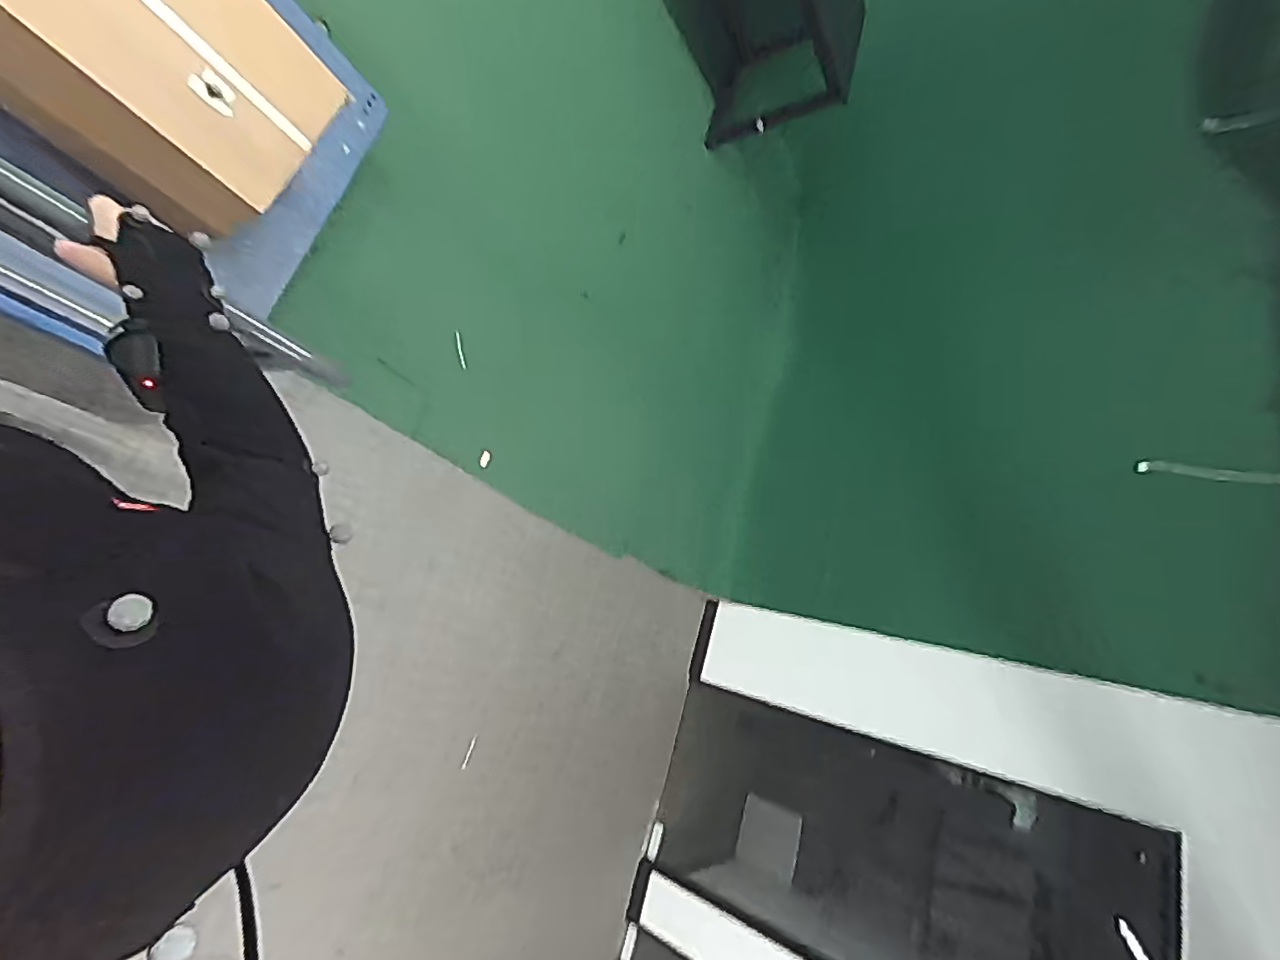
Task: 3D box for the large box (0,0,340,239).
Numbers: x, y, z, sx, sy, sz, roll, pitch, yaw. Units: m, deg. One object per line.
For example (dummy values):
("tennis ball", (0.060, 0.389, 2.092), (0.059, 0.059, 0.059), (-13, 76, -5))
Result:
("large box", (-0.830, -0.695, 0.908), (0.408, 0.320, 0.320), (42, 60, -48))
